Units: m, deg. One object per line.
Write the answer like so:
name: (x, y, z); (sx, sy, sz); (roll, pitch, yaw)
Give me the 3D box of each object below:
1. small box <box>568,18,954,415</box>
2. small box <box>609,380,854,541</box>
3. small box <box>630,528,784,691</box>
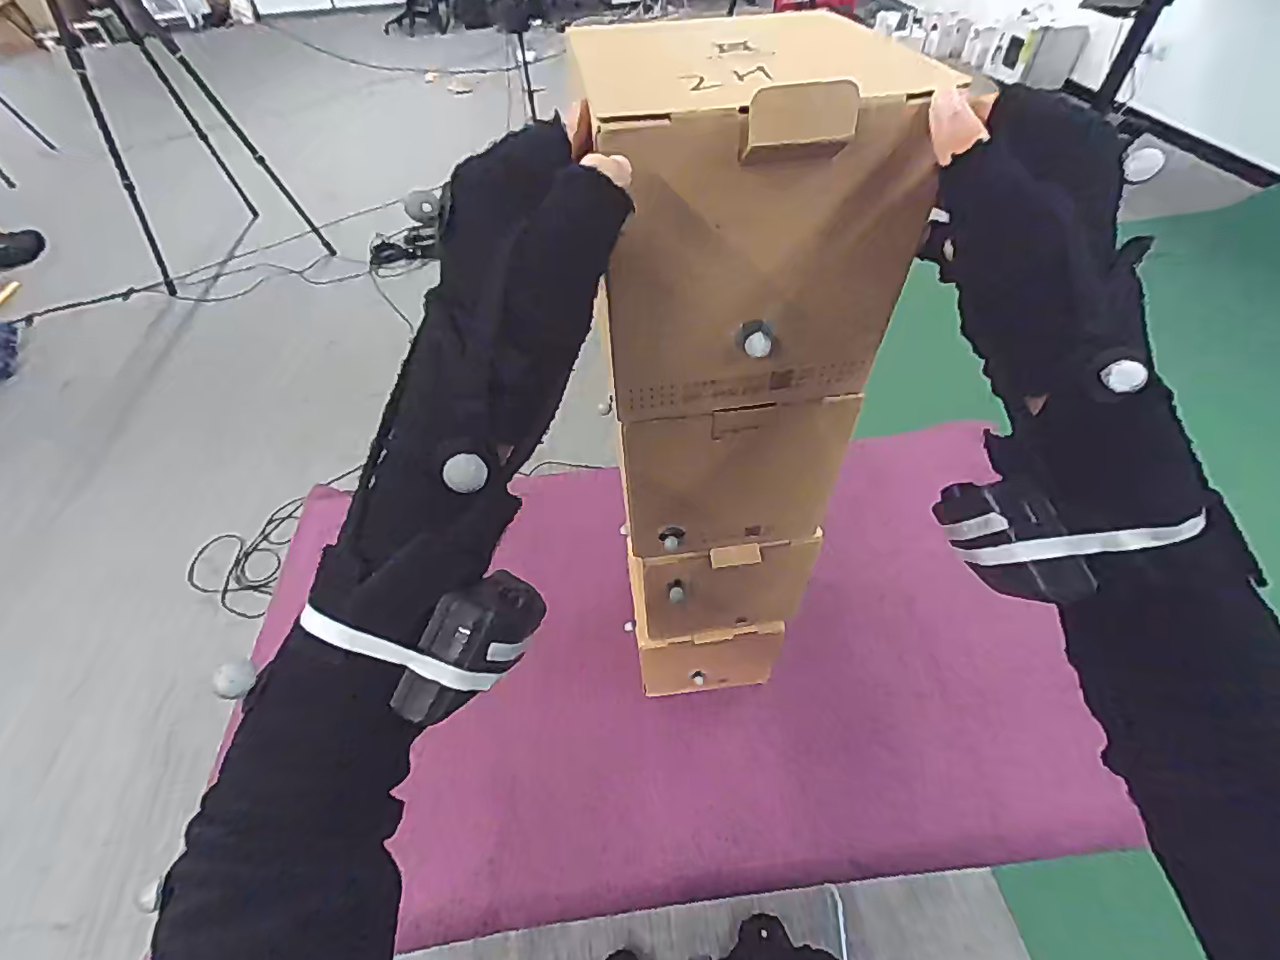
small box: (0.048, -0.166, 0.345); (0.168, 0.176, 0.179); (-8, 50, -3)
small box: (0.059, -0.060, 0.472); (0.168, 0.176, 0.179); (-7, 50, -3)
small box: (0.076, 0.159, 0.718); (0.168, 0.176, 0.179); (-7, 52, -2)
